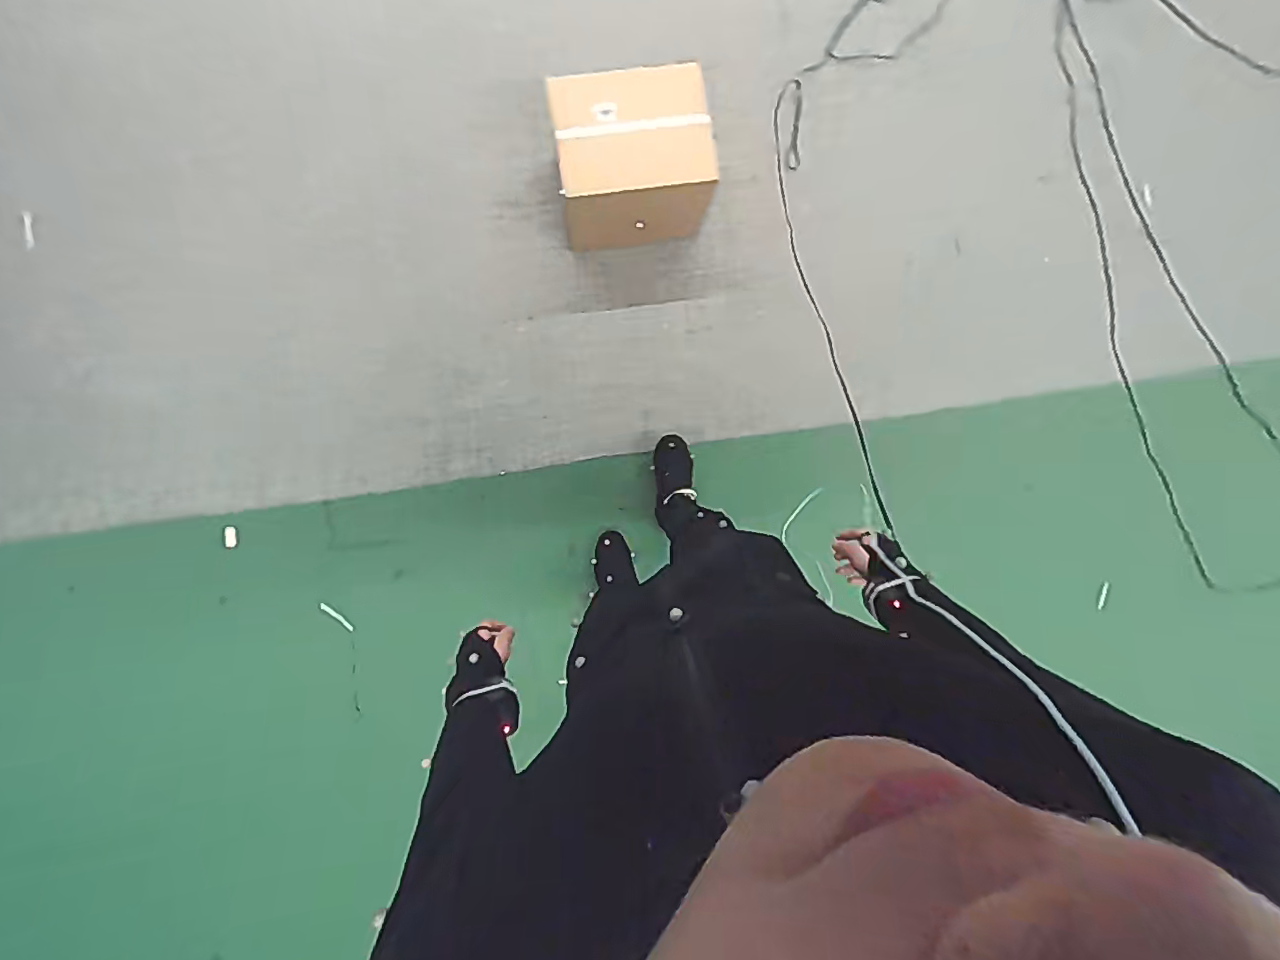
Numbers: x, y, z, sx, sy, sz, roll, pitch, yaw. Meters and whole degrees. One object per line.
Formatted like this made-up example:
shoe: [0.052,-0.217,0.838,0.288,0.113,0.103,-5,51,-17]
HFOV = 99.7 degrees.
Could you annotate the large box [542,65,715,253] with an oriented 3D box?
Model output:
large box: [-0.035,-0.887,1.537,0.408,0.320,0.320,-11,88,-4]
